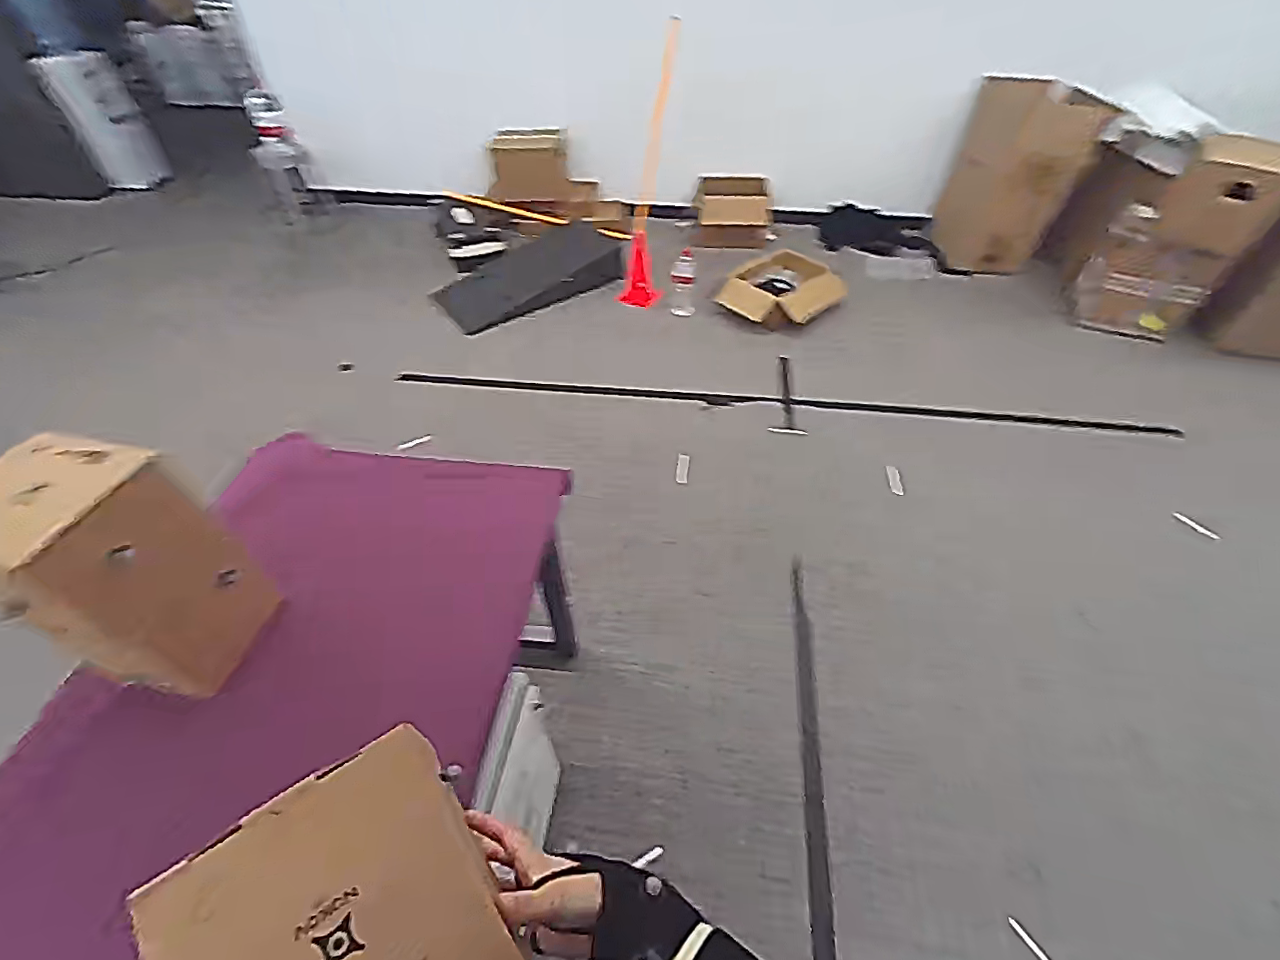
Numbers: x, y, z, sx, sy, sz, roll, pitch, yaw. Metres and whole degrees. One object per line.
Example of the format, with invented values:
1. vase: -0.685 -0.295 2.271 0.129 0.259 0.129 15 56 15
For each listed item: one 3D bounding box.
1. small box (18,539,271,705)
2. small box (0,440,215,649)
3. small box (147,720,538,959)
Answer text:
1. small box: -0.672 0.191 0.768 0.168 0.176 0.179 8 48 7
2. small box: -0.673 0.080 0.647 0.168 0.176 0.179 9 49 7
3. small box: -0.192 0.307 0.388 0.168 0.176 0.179 -27 71 -27
